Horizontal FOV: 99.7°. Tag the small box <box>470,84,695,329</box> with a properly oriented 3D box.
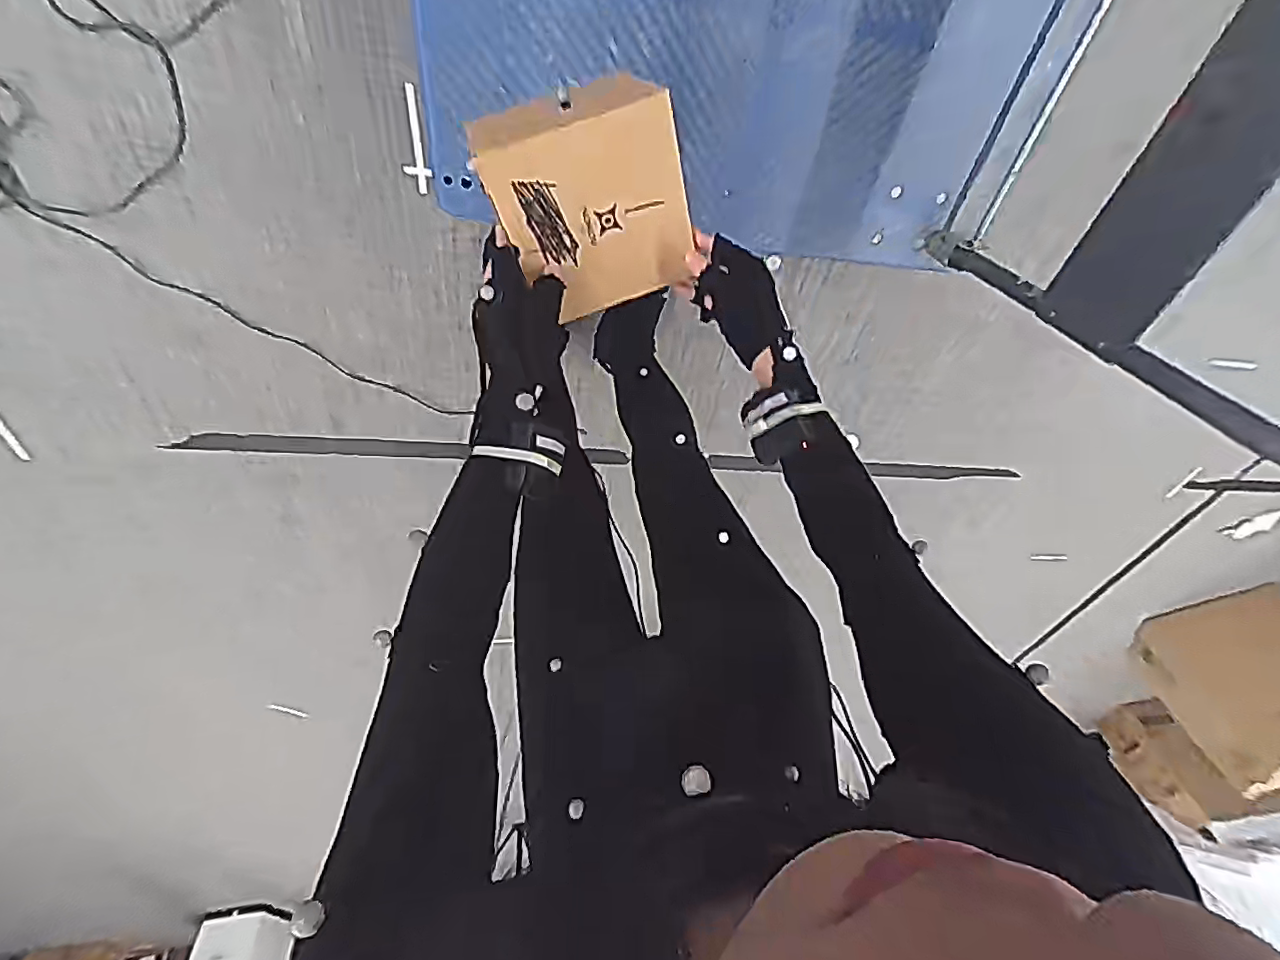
[{"bbox_3d":[-0.061,-0.286,0.560,0.179,0.176,0.168,-20,132,-3],"label":"small box"}]
